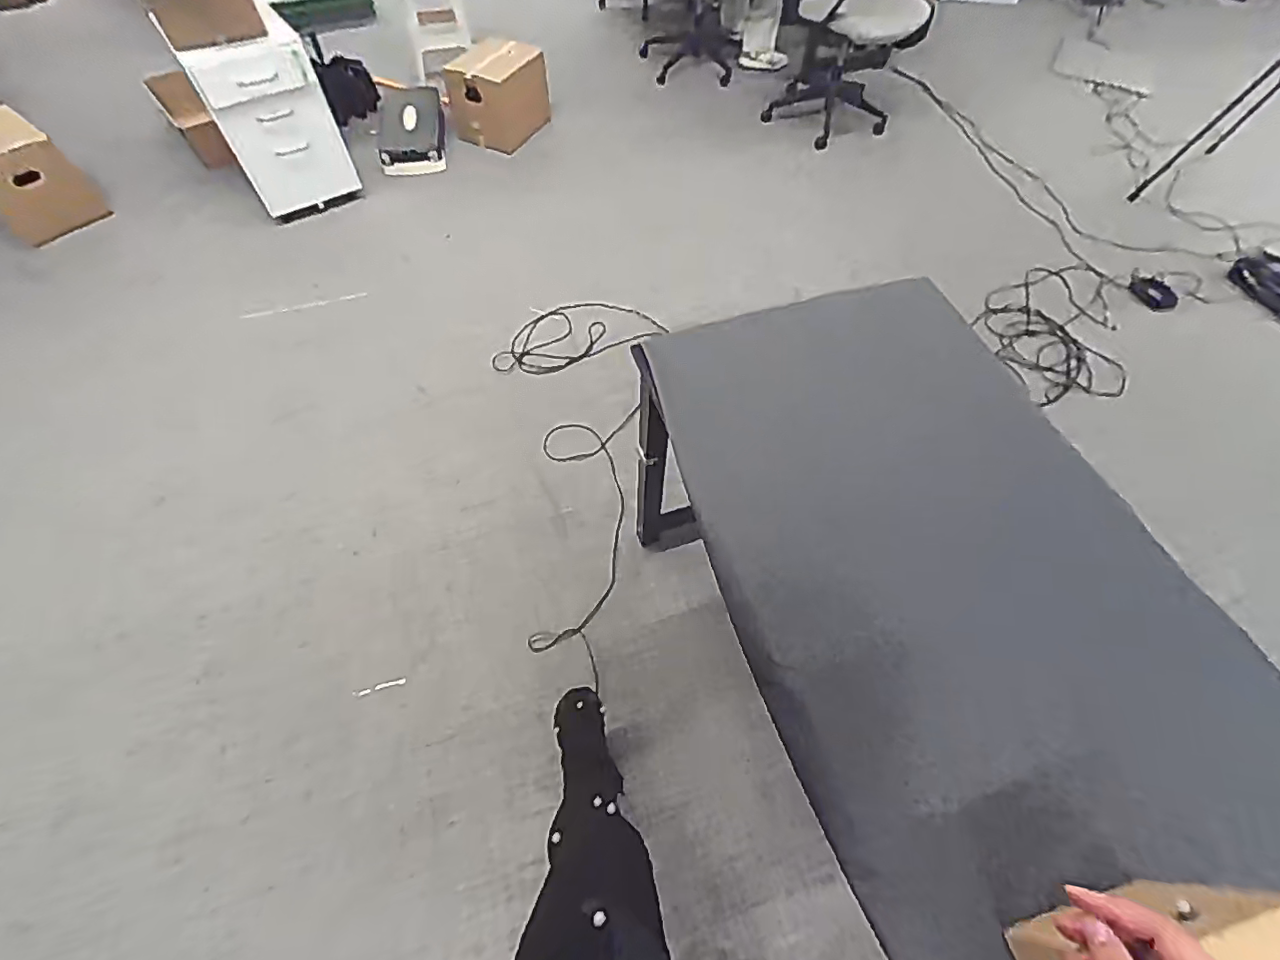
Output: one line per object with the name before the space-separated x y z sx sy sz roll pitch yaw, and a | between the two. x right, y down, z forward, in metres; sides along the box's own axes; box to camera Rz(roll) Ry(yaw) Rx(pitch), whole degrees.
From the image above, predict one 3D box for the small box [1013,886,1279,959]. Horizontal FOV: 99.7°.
small box | 0.469 0.459 0.446 0.179 0.176 0.168 -10 57 -10
